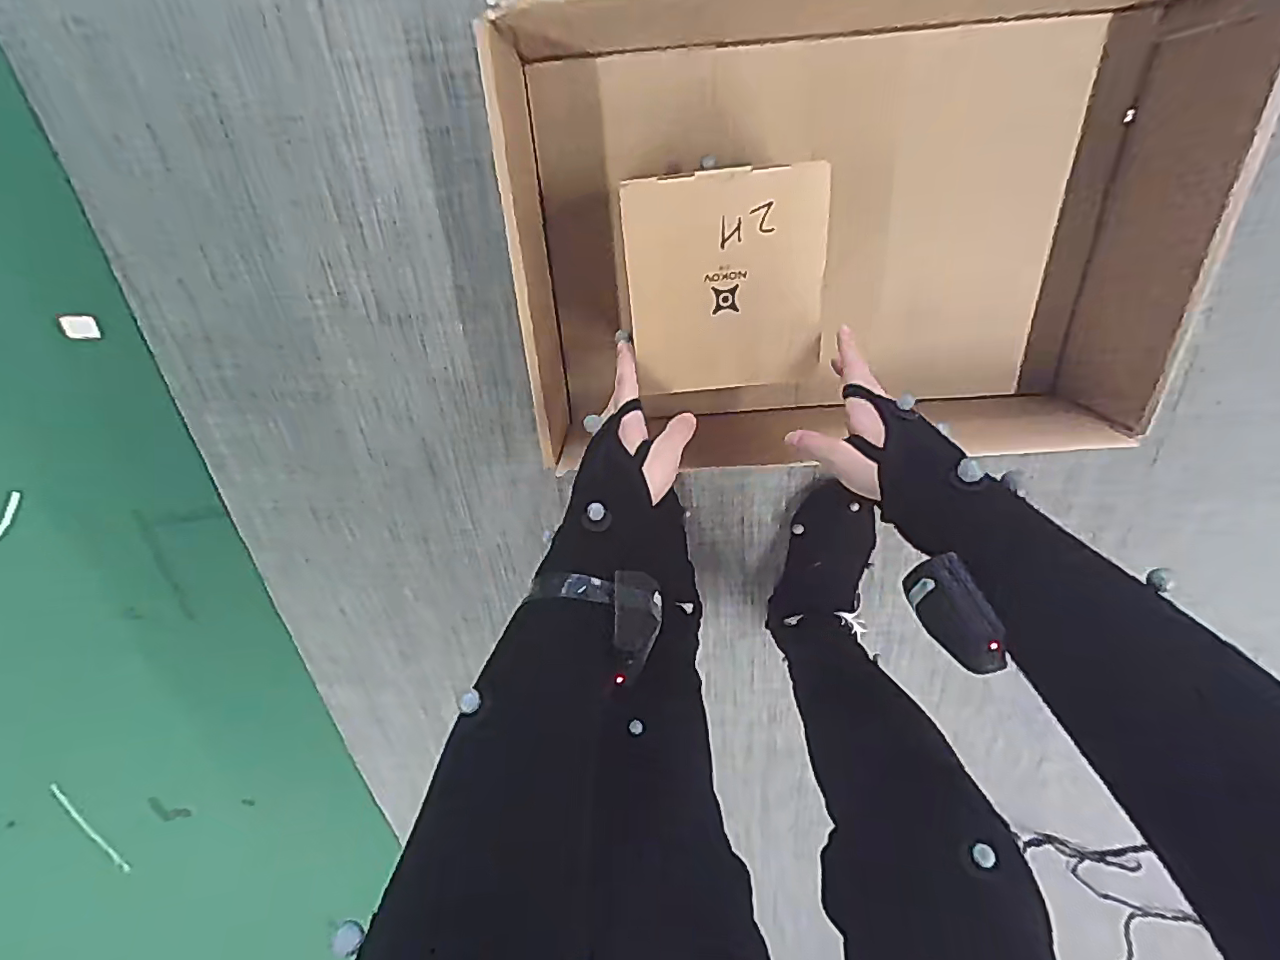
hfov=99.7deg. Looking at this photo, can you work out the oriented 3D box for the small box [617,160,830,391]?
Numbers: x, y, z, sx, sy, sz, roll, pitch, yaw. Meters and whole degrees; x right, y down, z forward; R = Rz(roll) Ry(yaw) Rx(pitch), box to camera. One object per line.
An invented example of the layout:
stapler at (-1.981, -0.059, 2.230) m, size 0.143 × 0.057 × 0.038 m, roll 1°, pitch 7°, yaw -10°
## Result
small box at (0.070, -0.200, 0.523) m, size 0.168 × 0.176 × 0.179 m, roll -5°, pitch 117°, yaw 2°
